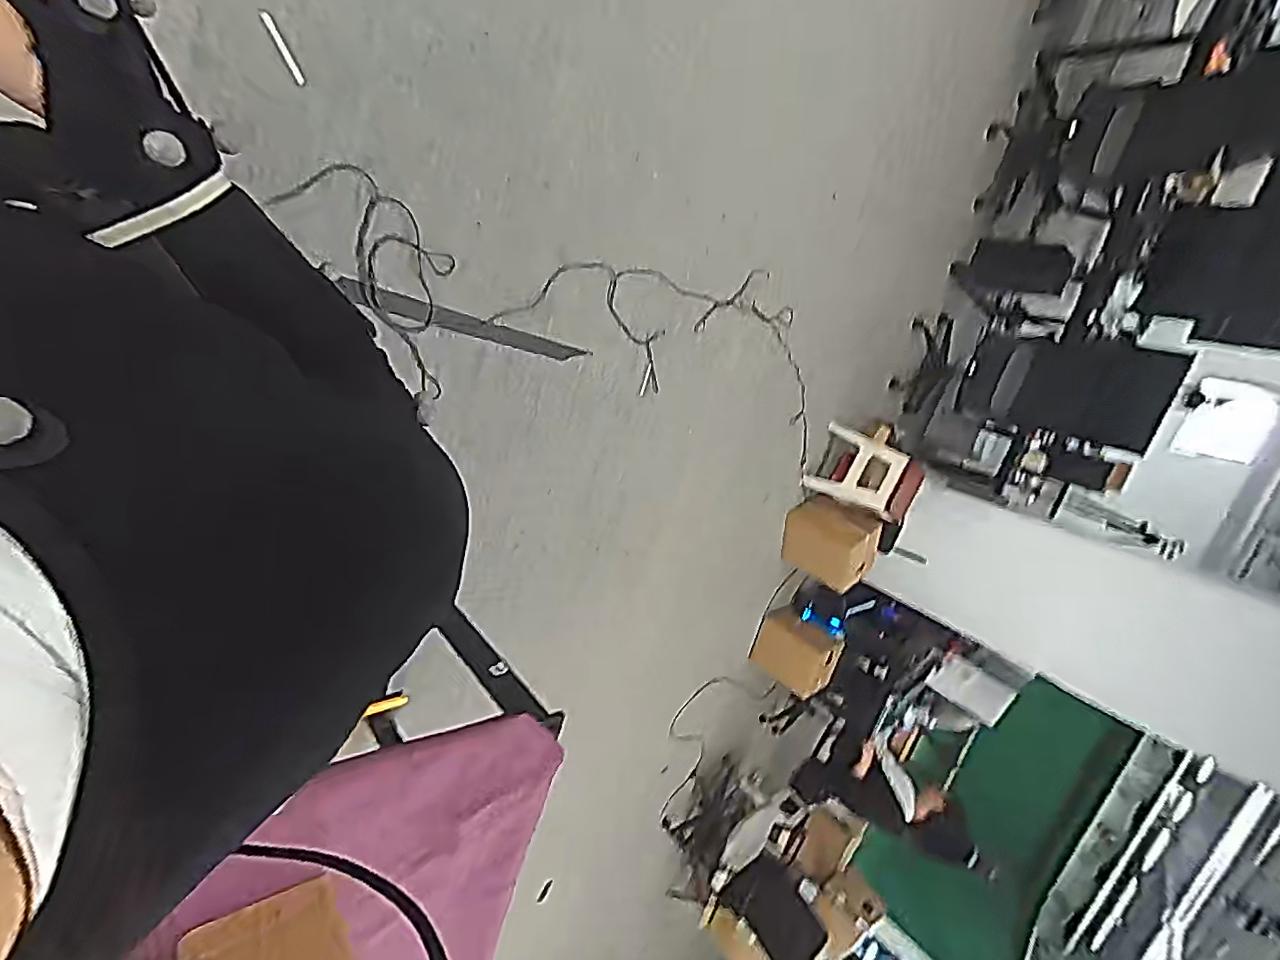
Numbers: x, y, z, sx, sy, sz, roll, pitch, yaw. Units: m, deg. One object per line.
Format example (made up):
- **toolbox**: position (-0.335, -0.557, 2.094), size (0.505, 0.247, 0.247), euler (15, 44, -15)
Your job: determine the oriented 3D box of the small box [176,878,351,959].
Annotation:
- **small box**: position (-0.510, 0.698, 0.731), size (0.179, 0.176, 0.168), euler (4, 108, -46)
